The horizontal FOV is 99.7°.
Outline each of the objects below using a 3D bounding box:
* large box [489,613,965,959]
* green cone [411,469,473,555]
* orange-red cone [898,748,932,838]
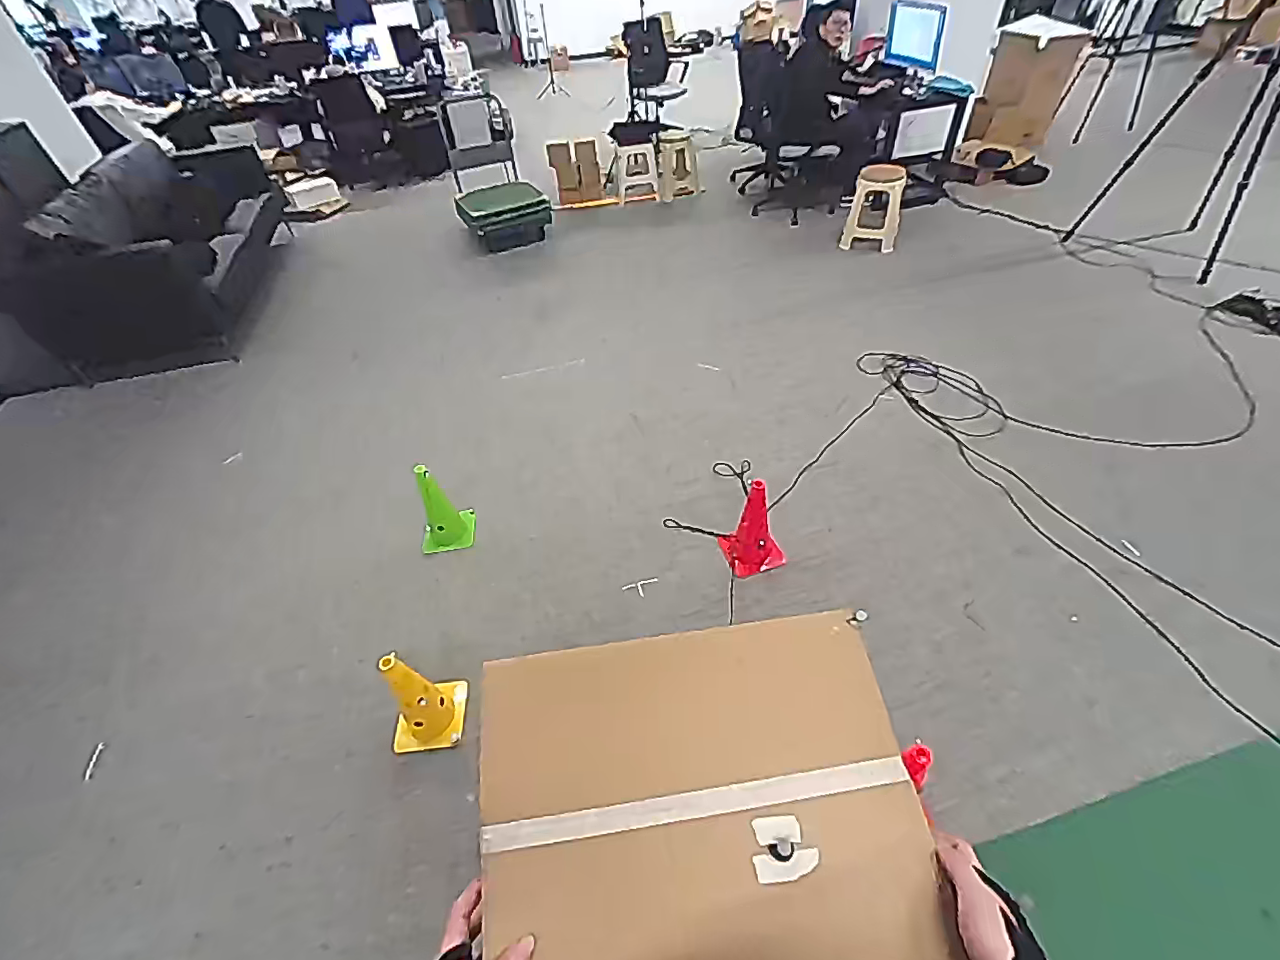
[{"bbox_3d":[0.059,0.381,0.644,0.408,0.320,0.320,-8,62,-5],"label":"large box"},{"bbox_3d":[-0.790,0.095,2.057,0.200,0.368,0.202,-10,46,-4],"label":"green cone"},{"bbox_3d":[0.624,0.719,1.296,0.199,0.360,0.198,-7,46,-4],"label":"orange-red cone"}]
